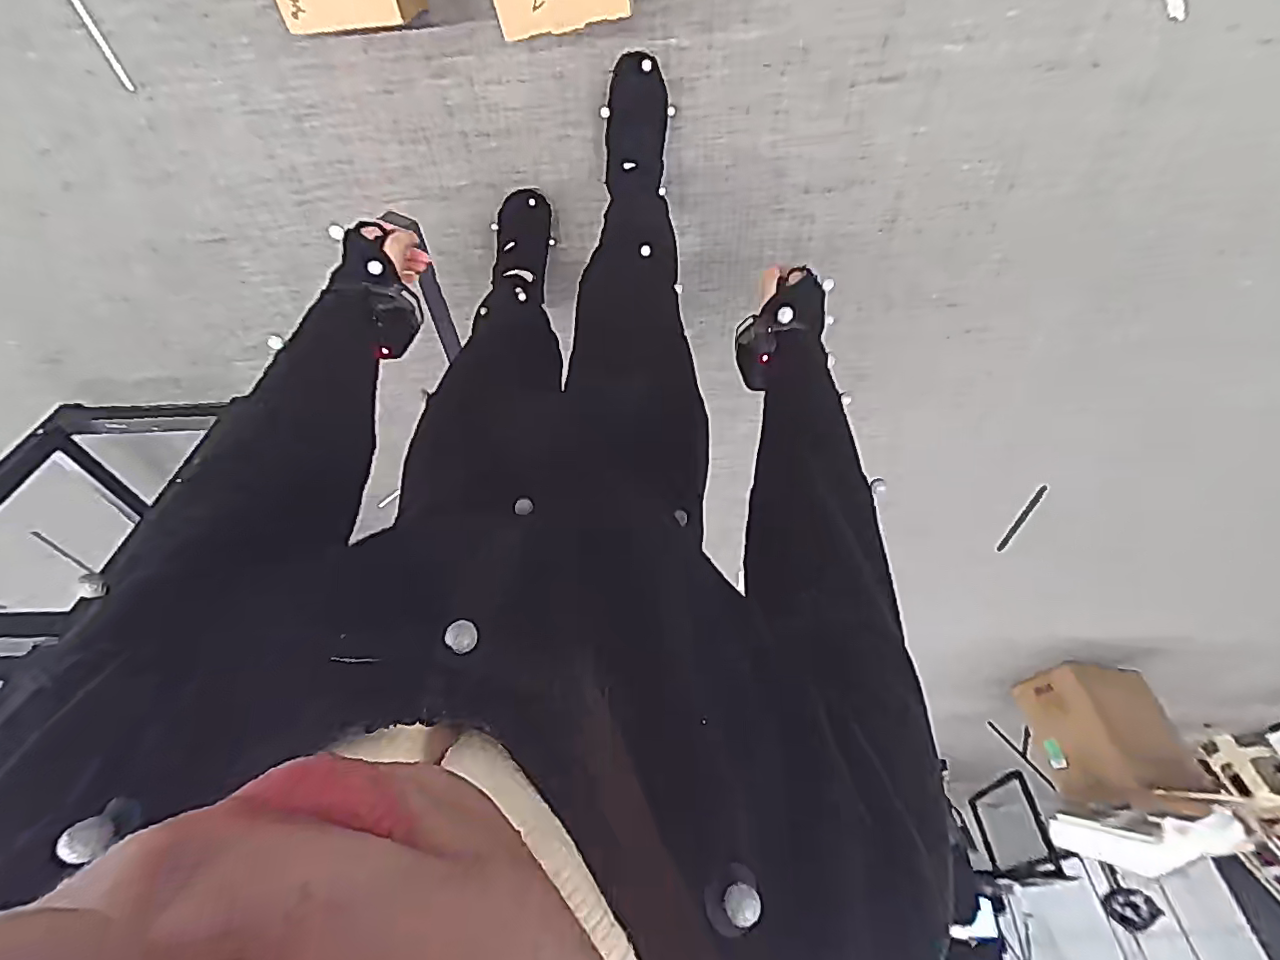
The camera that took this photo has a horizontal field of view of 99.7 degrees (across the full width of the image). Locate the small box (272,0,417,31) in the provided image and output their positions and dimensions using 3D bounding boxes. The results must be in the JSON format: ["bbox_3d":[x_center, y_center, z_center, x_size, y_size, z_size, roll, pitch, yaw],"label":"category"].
[{"bbox_3d":[-0.440,-0.776,0.781,0.179,0.176,0.168,-3,139,2],"label":"small box"}]

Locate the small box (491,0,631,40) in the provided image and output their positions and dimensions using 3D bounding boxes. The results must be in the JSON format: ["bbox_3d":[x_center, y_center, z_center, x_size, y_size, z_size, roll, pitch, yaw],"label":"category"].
[{"bbox_3d":[-0.104,-0.670,0.652,0.168,0.176,0.179,-6,139,7],"label":"small box"}]
